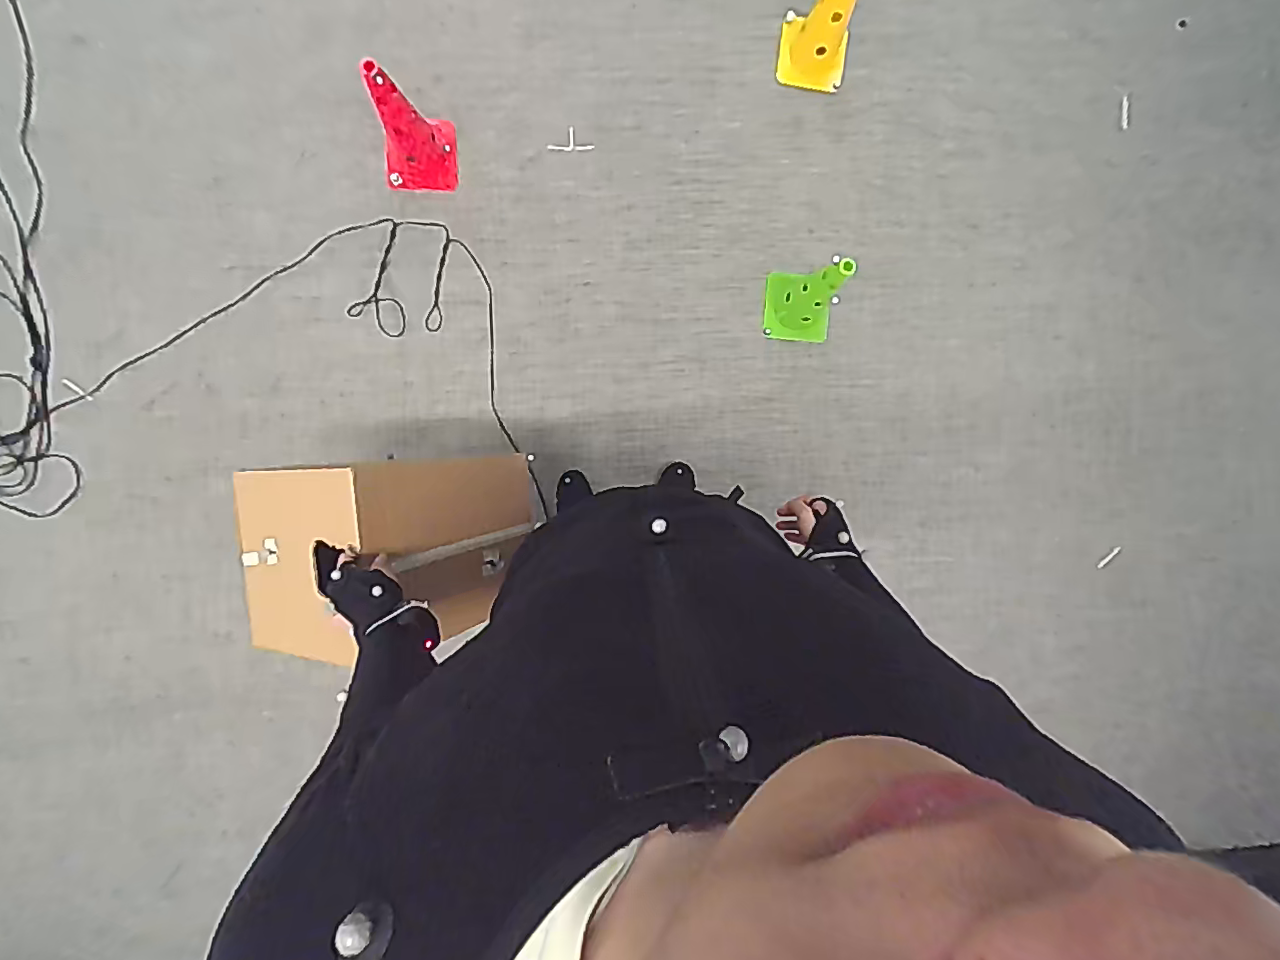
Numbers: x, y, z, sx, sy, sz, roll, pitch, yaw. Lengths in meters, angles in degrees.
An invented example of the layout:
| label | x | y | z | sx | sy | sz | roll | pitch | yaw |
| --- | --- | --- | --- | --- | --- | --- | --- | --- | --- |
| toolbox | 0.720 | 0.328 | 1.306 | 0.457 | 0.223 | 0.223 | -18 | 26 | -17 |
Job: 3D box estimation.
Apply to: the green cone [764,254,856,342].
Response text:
| label | x | y | z | sx | sy | sz | roll | pitch | yaw |
| --- | --- | --- | --- | --- | --- | --- | --- | --- | --- |
| green cone | 0.493 | -0.523 | 1.477 | 0.200 | 0.368 | 0.202 | 4 | 91 | -4 |

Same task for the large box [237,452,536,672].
| label | x | y | z | sx | sy | sz | roll | pitch | yaw |
| --- | --- | --- | --- | --- | --- | --- | --- | --- | --- |
| large box | -0.454 | 0.122 | 1.037 | 0.320 | 0.408 | 0.320 | -1 | 96 | 26 |
